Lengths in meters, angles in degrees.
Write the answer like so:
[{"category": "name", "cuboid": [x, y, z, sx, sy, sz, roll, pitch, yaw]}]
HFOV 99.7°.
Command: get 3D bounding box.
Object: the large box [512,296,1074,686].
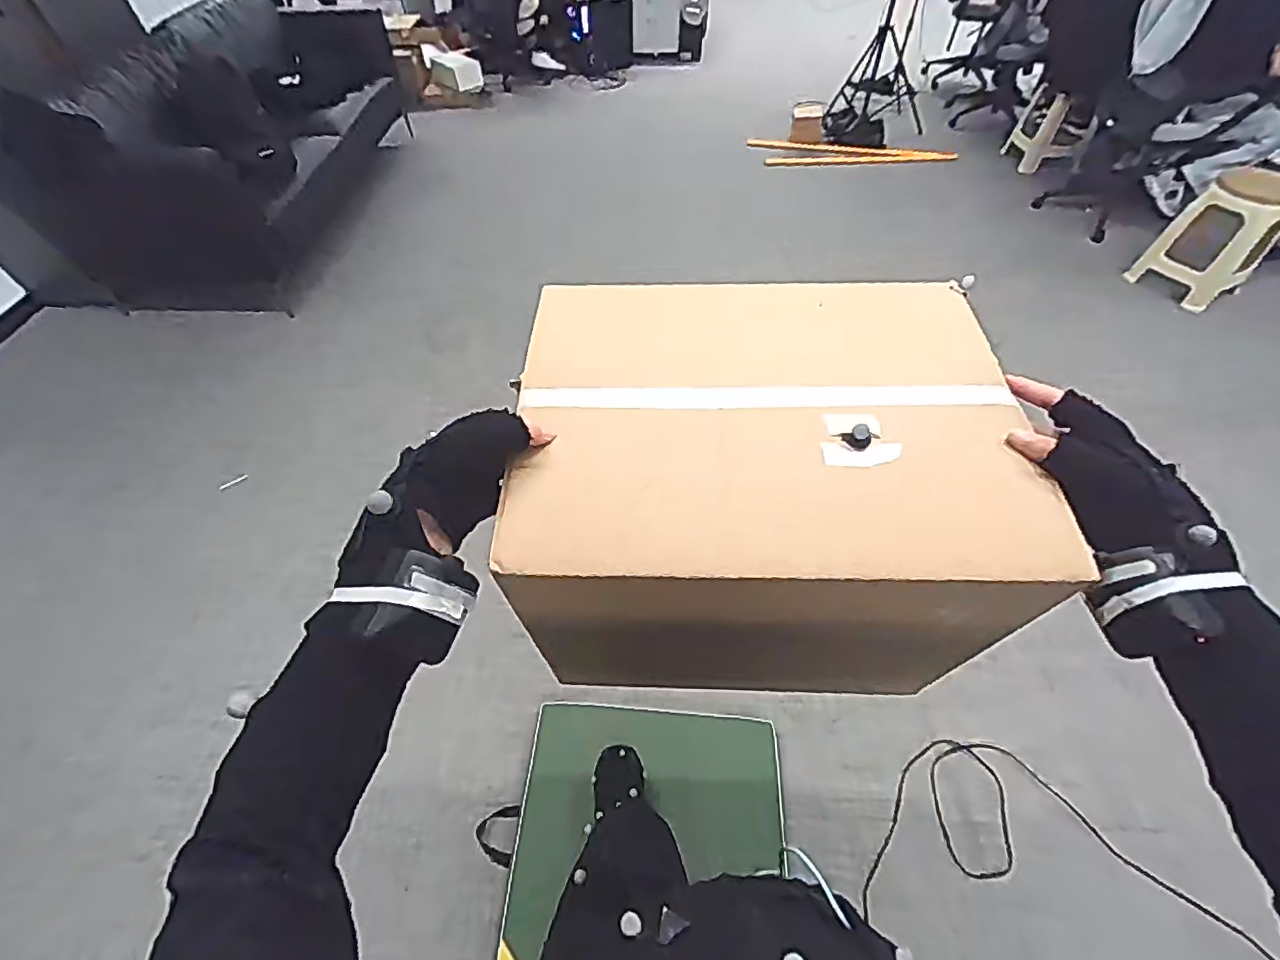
[{"category": "large box", "cuboid": [0.108, 0.024, 0.583, 0.408, 0.320, 0.320, 1, 56, 2]}]
